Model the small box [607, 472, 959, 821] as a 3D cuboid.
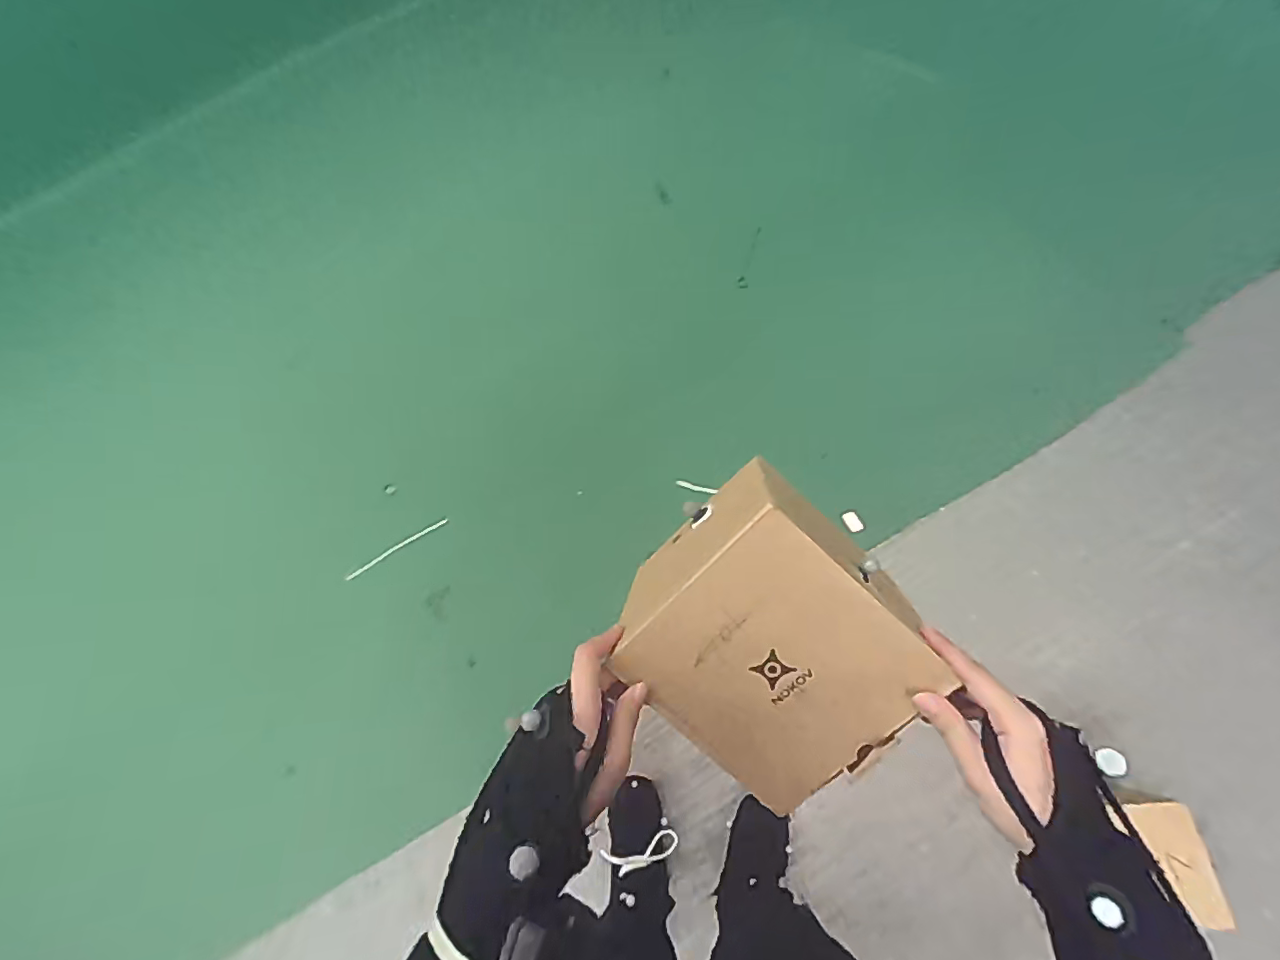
[{"bbox_3d":[0.103,0.115,0.441,0.179,0.176,0.168,42,105,-2],"label":"small box"}]
